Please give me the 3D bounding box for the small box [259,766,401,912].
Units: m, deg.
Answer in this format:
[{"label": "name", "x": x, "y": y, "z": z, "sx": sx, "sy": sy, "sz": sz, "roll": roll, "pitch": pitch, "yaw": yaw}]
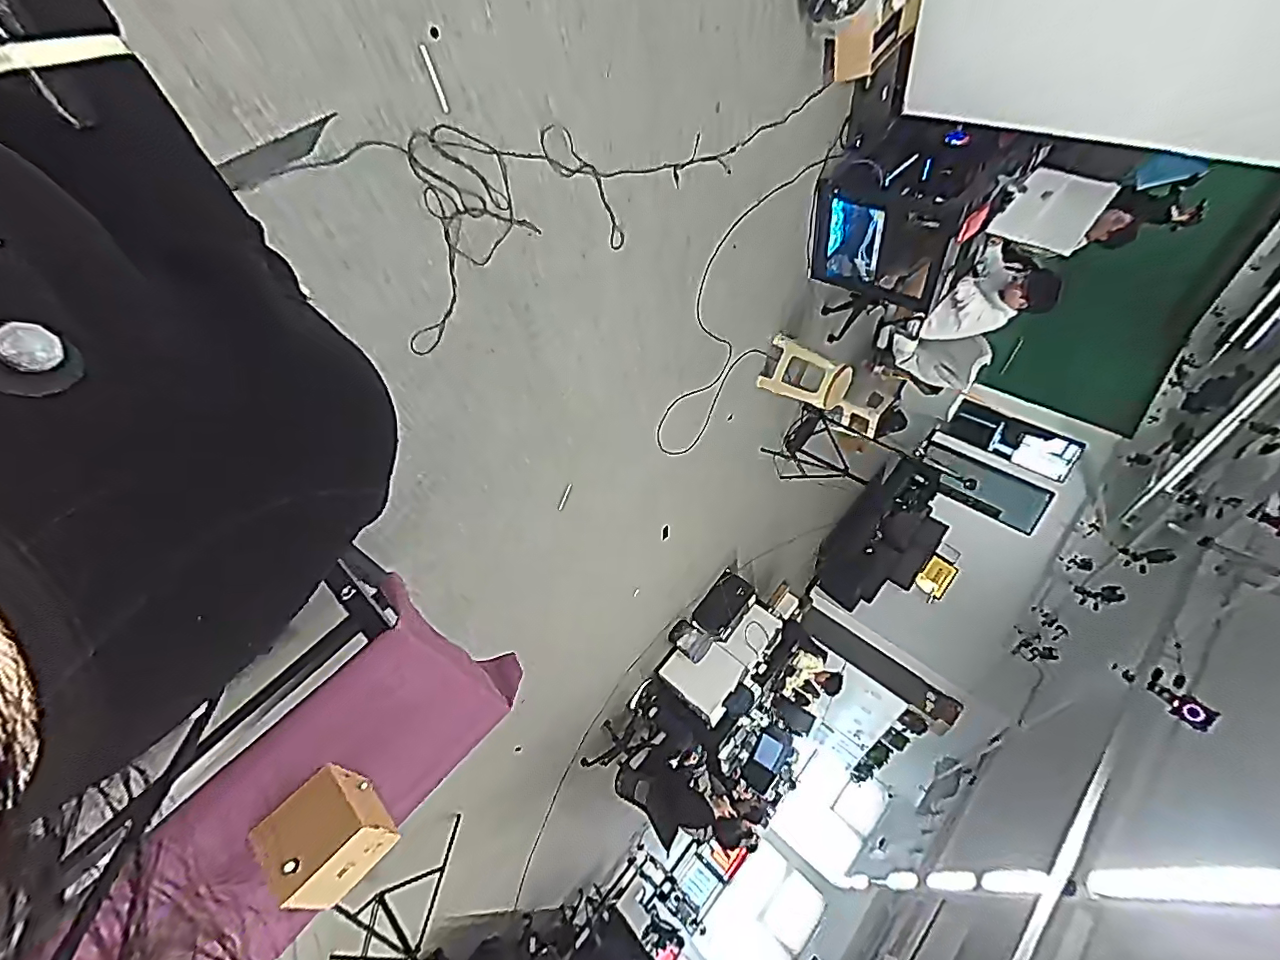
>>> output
[{"label": "small box", "x": -0.640, "y": 0.735, "z": 1.112, "sx": 0.179, "sy": 0.176, "sz": 0.168, "roll": -43, "pitch": 147, "yaw": -24}]
